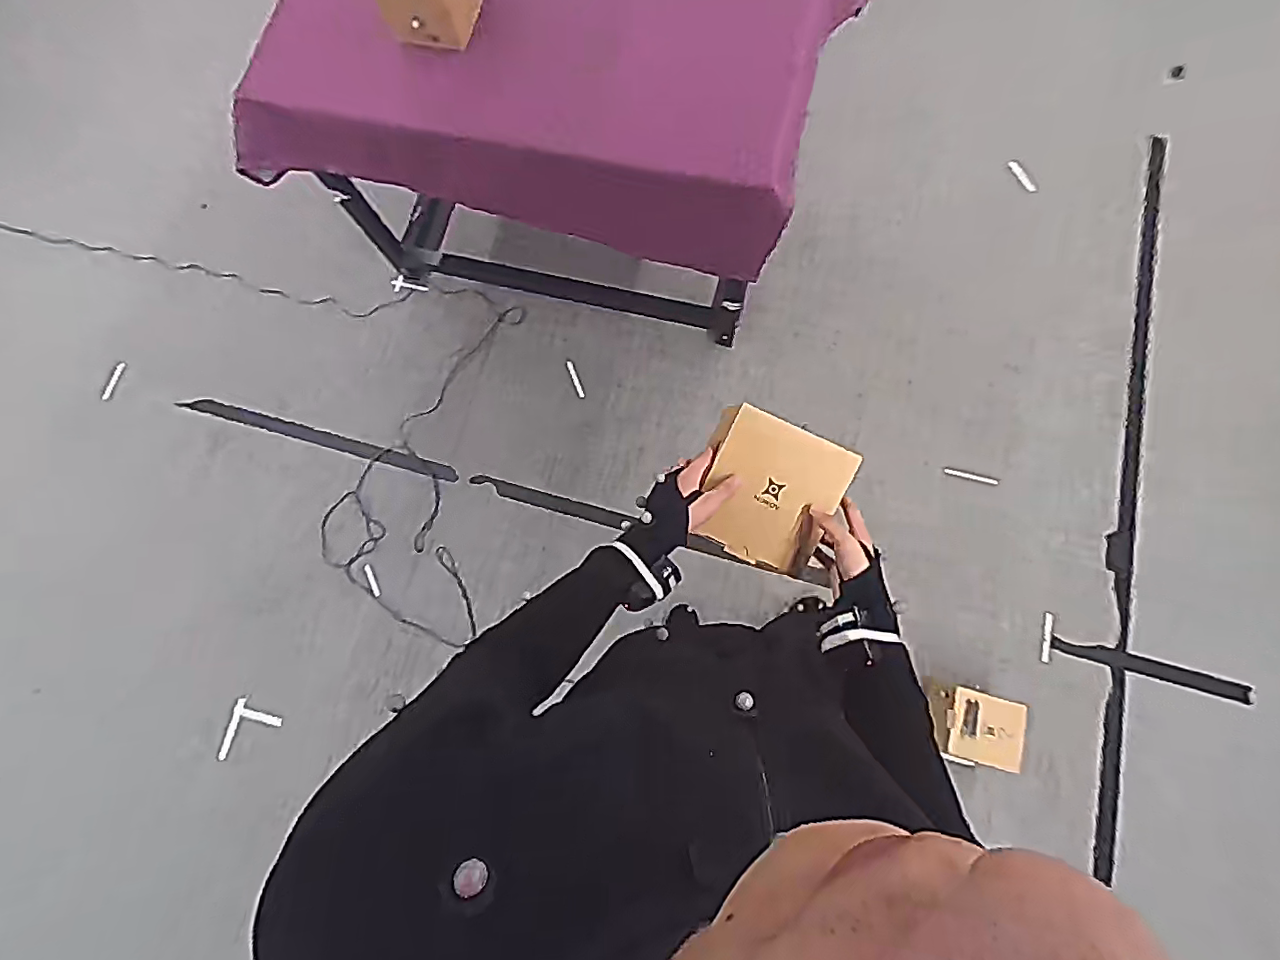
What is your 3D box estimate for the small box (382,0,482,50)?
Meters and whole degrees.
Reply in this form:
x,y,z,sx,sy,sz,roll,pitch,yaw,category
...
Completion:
x,y,z,sx,sy,sz,roll,pitch,yaw,category
-0.444,-1.053,1.123,0.168,0.176,0.179,13,79,7,small box
